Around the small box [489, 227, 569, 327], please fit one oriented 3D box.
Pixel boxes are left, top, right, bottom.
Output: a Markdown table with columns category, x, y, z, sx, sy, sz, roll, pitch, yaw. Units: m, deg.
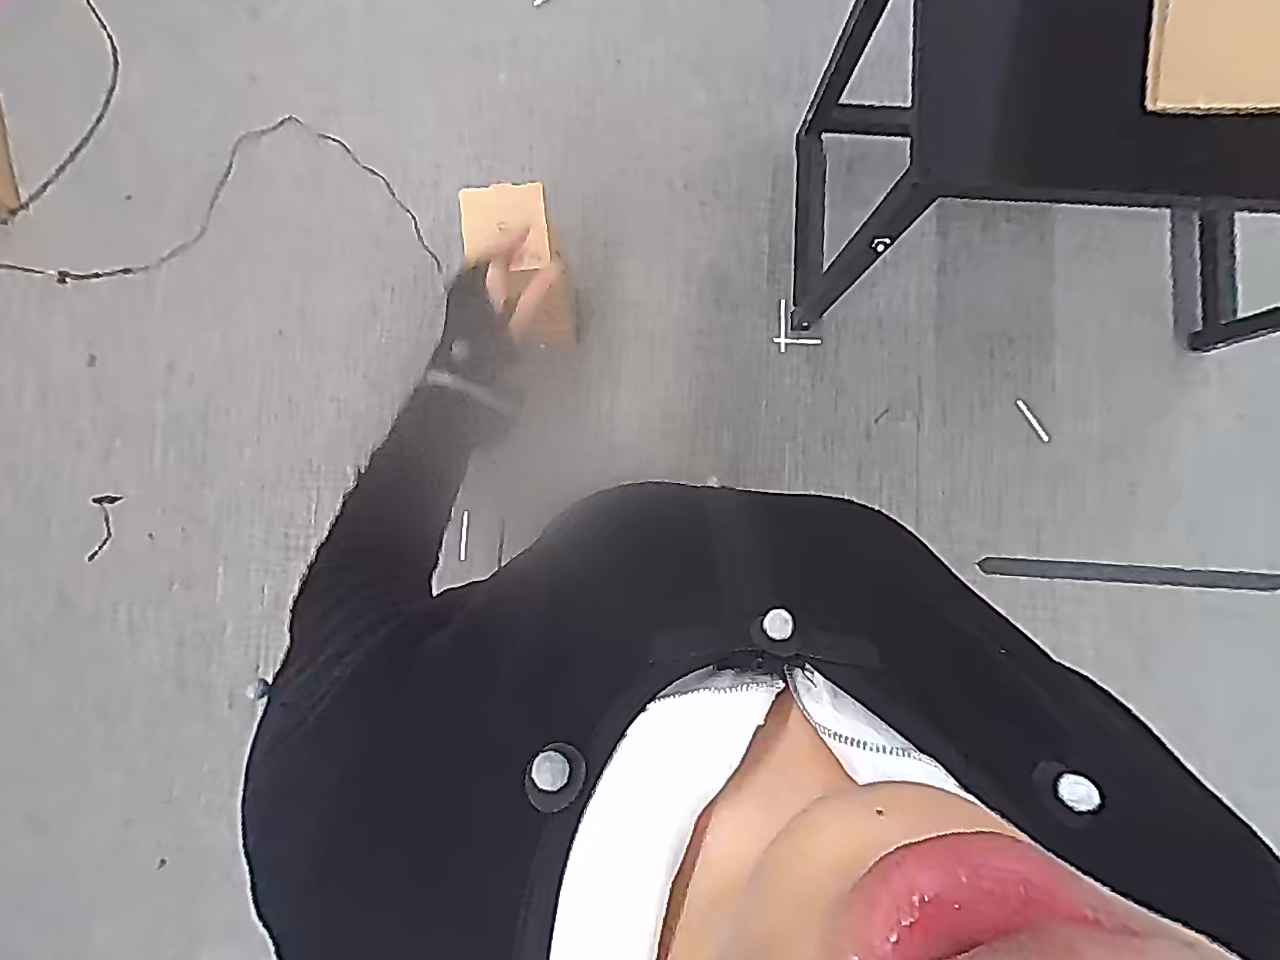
| category | x | y | z | sx | sy | sz | roll | pitch | yaw |
| --- | --- | --- | --- | --- | --- | --- | --- | --- | --- |
| small box | -0.263 | -0.476 | 1.295 | 0.168 | 0.176 | 0.179 | -4 | 86 | -1 |

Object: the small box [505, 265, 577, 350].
| category | x | y | z | sx | sy | sz | roll | pitch | yaw |
| --- | --- | --- | --- | --- | --- | --- | --- | --- | --- |
| small box | -0.262 | -0.461 | 1.456 | 0.168 | 0.176 | 0.179 | -1 | 88 | 0 |

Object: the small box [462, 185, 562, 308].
| category | x | y | z | sx | sy | sz | roll | pitch | yaw |
| --- | --- | --- | --- | --- | --- | --- | --- | --- | --- |
| small box | -0.262 | -0.480 | 1.130 | 0.168 | 0.176 | 0.179 | -6 | 86 | -1 |
